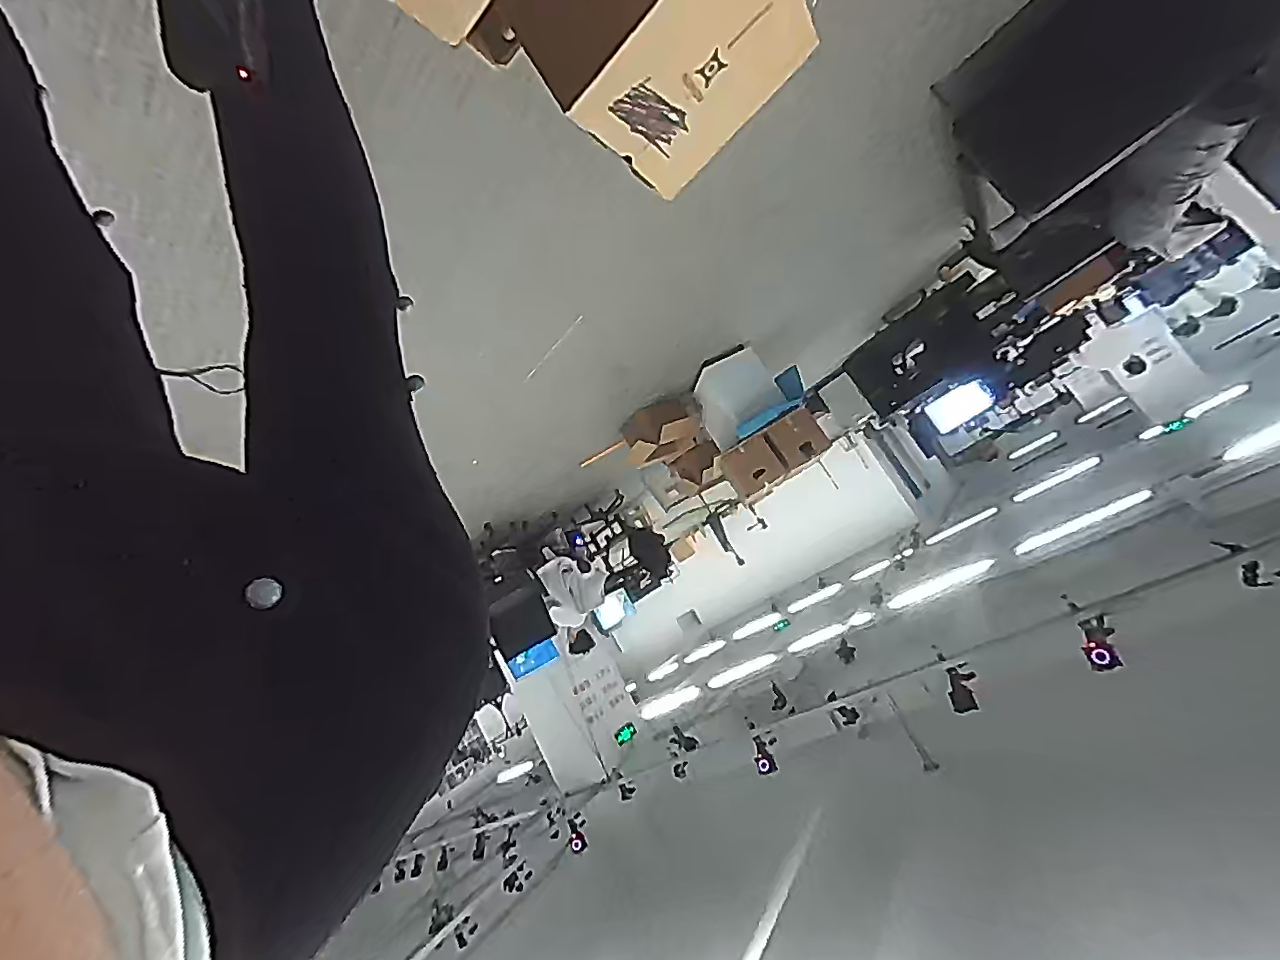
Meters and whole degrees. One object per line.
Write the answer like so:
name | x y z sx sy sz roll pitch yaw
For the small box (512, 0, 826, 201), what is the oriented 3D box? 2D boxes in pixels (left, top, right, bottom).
small box | 0.017 -0.381 0.440 0.179 0.176 0.168 -36 166 26
